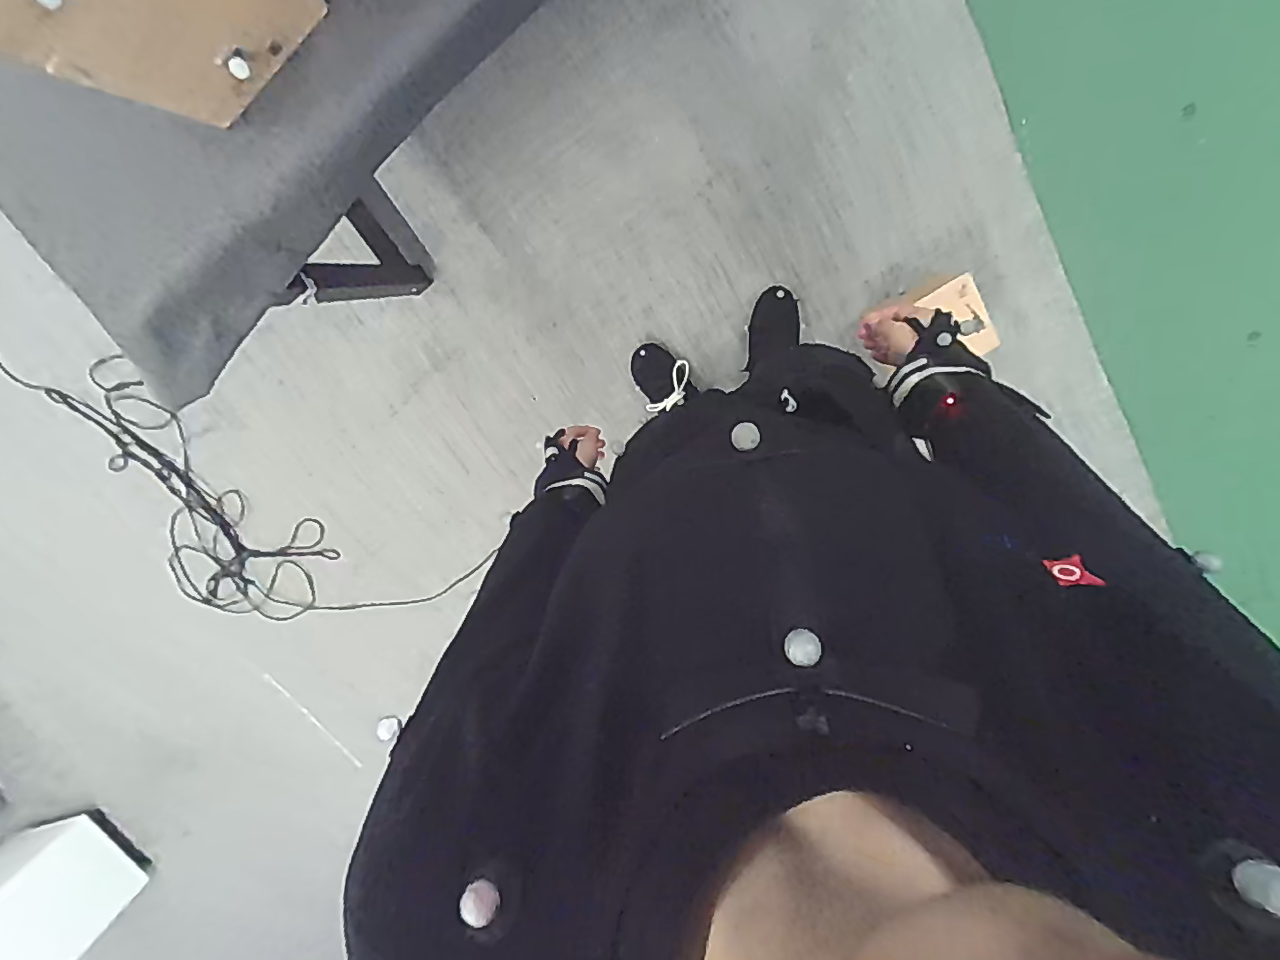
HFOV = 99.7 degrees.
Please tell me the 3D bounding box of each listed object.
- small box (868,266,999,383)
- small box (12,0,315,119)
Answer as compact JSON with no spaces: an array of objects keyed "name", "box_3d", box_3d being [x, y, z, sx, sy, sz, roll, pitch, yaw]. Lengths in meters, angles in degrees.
[{"name":"small box","box_3d":[0.601,-0.329,1.138,0.179,0.176,0.168,-29,105,17]},{"name":"small box","box_3d":[-0.415,-0.433,0.425,0.168,0.176,0.179,-32,105,17]}]
